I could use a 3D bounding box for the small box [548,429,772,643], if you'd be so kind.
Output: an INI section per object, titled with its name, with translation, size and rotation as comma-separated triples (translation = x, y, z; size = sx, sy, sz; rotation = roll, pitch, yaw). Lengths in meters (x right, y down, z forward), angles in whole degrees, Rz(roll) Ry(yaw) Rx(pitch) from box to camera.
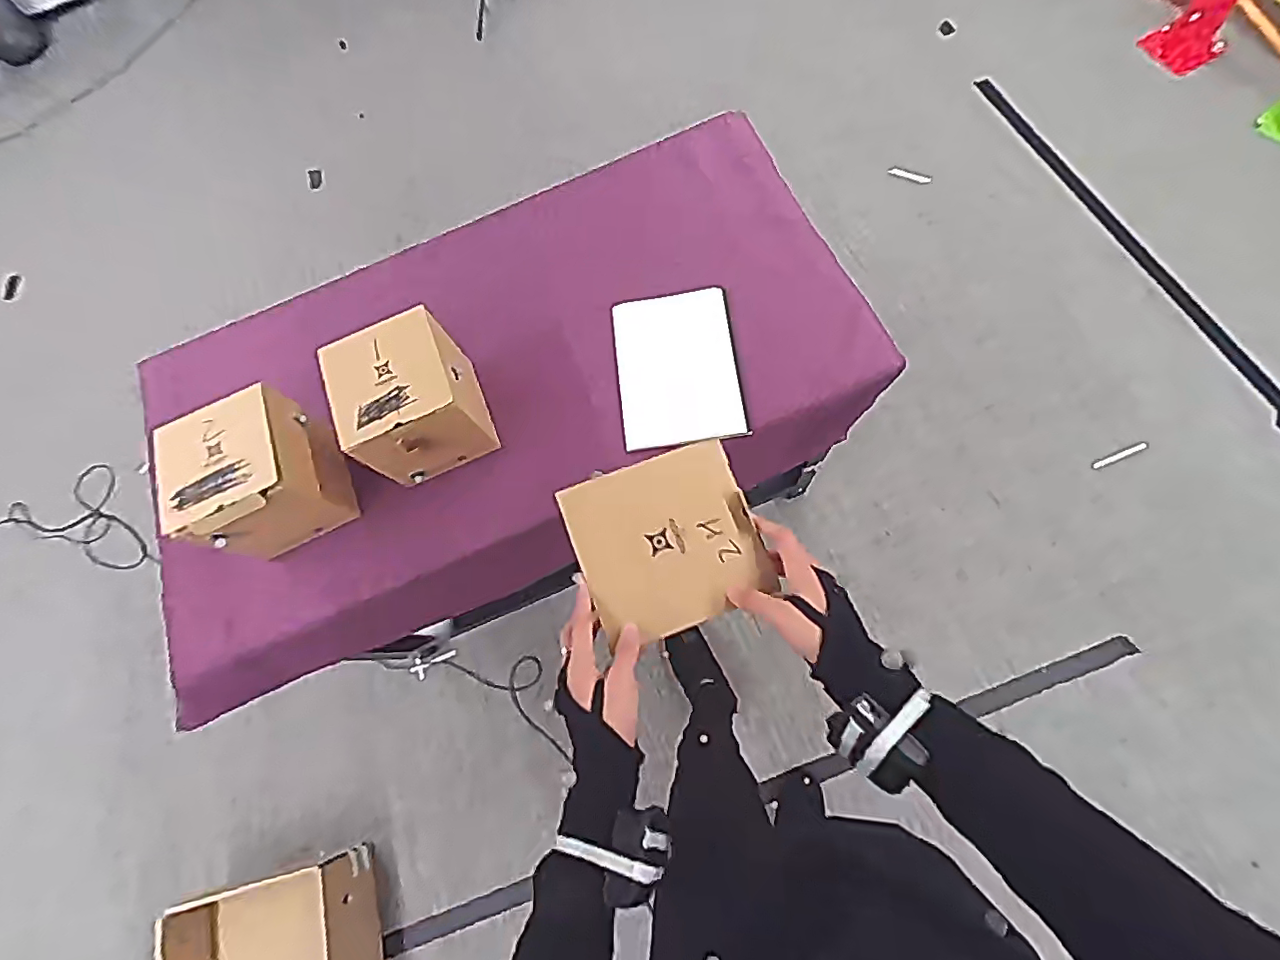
[small box]
translation = 0.016, 0.070, 0.595
size = 0.179, 0.176, 0.168
rotation = -20, 77, -7
